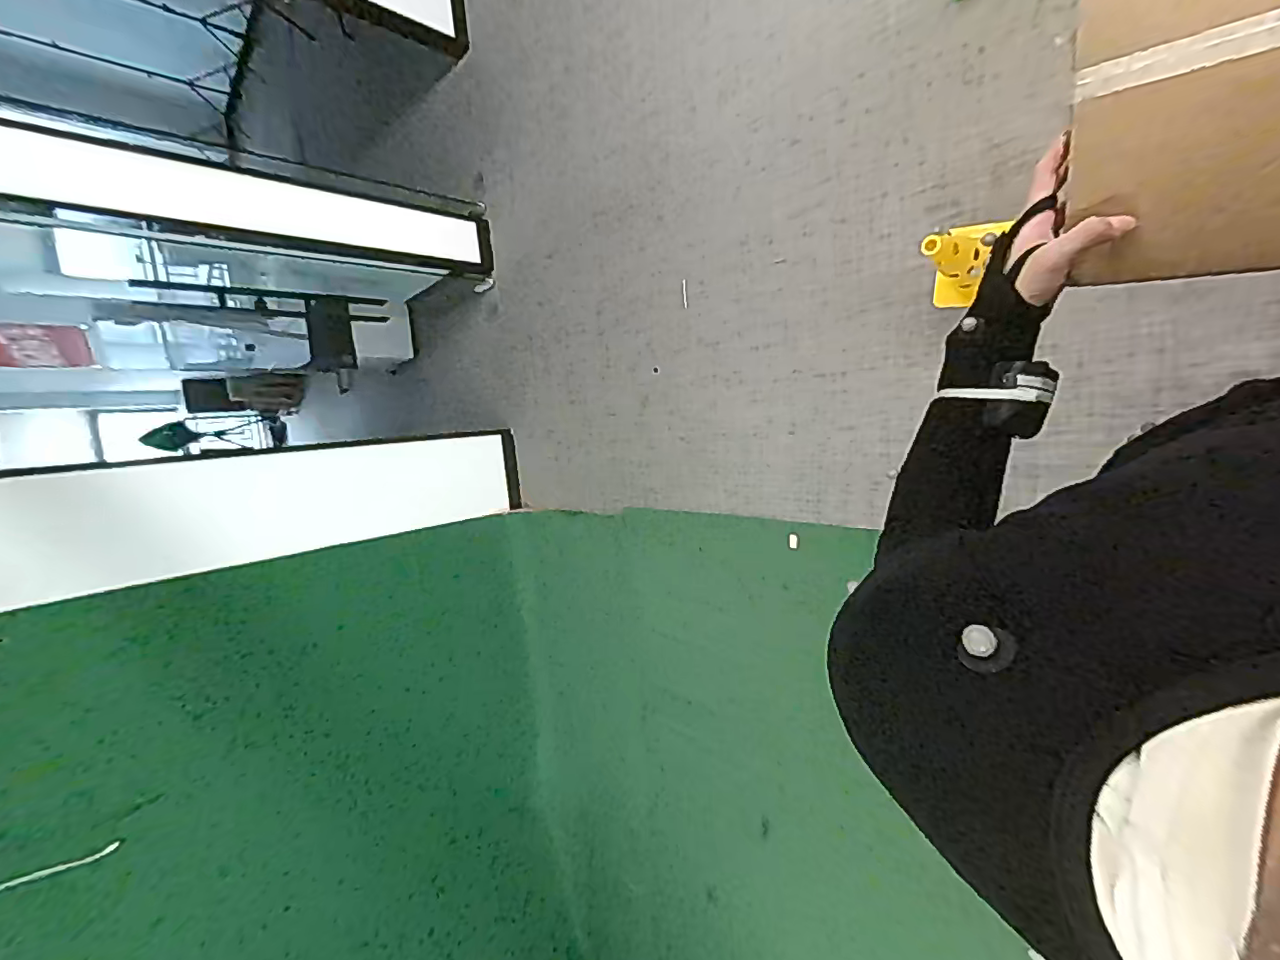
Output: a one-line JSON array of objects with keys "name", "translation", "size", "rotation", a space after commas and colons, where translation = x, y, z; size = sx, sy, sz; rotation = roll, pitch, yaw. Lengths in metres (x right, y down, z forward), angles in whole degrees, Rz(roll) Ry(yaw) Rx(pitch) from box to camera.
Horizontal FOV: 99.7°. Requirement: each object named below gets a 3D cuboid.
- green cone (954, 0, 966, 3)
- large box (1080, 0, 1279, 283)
[{"name": "green cone", "translation": [0.734, -1.265, 1.172], "size": [0.200, 0.368, 0.202], "rotation": [9, 106, 46]}, {"name": "large box", "translation": [0.596, -0.357, 0.381], "size": [0.408, 0.320, 0.320], "rotation": [10, 124, 45]}]
